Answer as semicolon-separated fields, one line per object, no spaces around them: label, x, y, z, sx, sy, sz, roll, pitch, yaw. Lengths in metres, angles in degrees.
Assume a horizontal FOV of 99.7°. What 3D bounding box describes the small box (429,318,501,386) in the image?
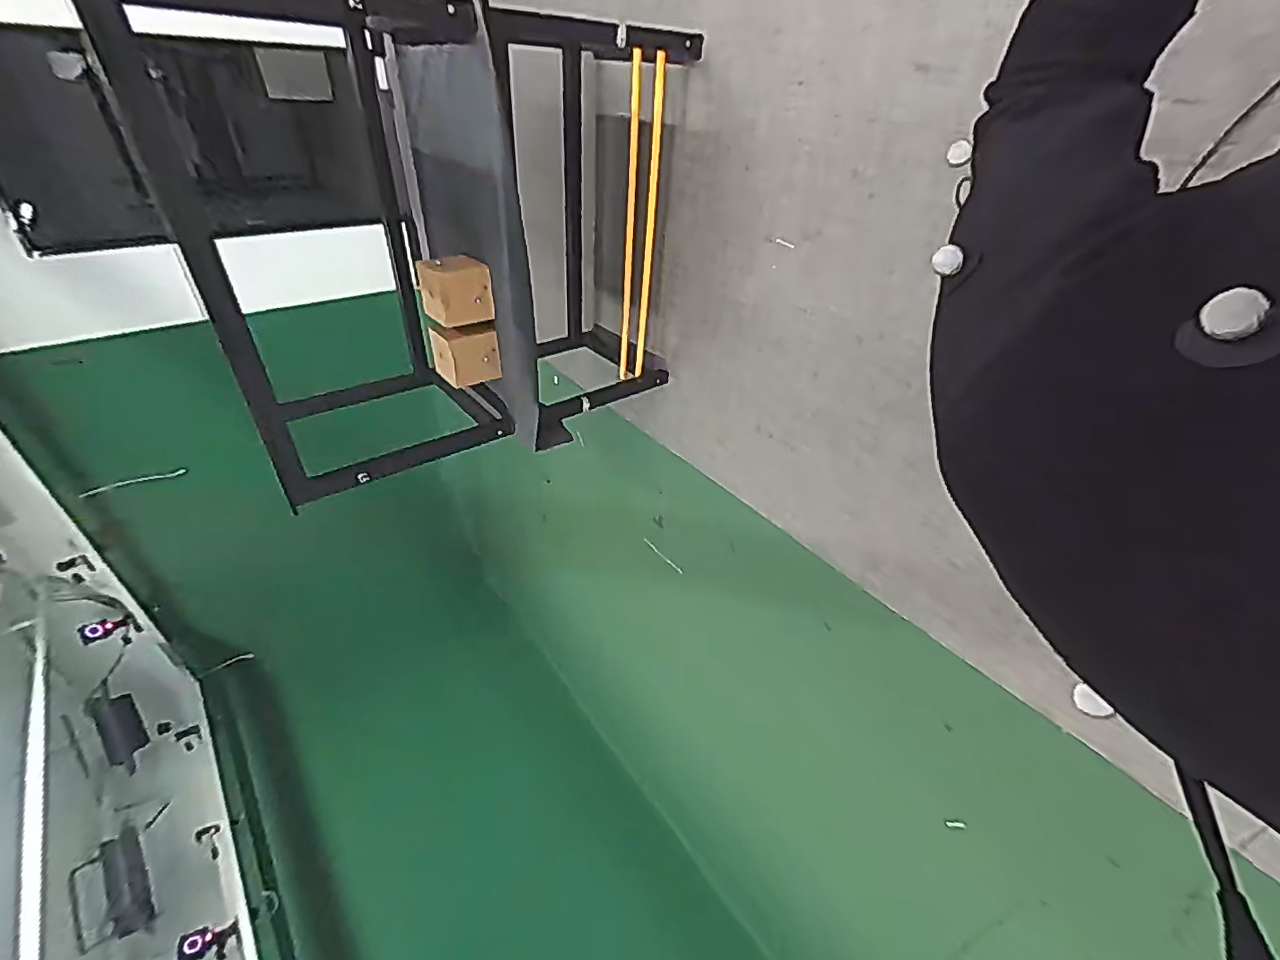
small box;-0.591;-0.442;1.838;0.179;0.176;0.168;36;137;38

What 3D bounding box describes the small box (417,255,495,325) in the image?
small box;-0.582;-0.611;1.723;0.179;0.176;0.168;36;138;38
